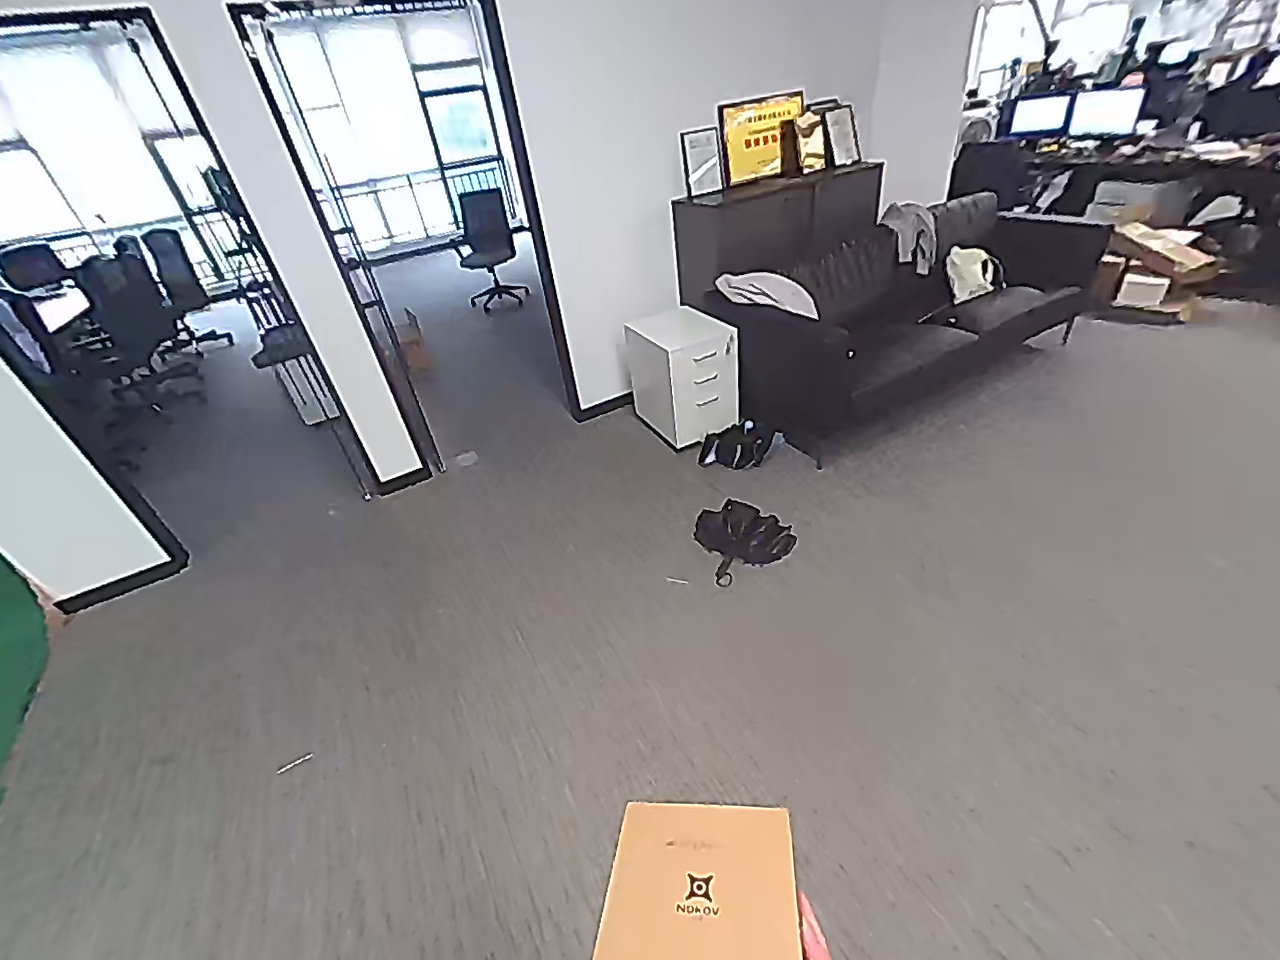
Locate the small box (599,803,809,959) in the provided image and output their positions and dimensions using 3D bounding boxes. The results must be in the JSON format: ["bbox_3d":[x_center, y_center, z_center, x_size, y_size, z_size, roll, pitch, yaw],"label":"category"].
[{"bbox_3d":[0.068,0.433,0.488,0.168,0.176,0.179,-4,16,11],"label":"small box"}]
